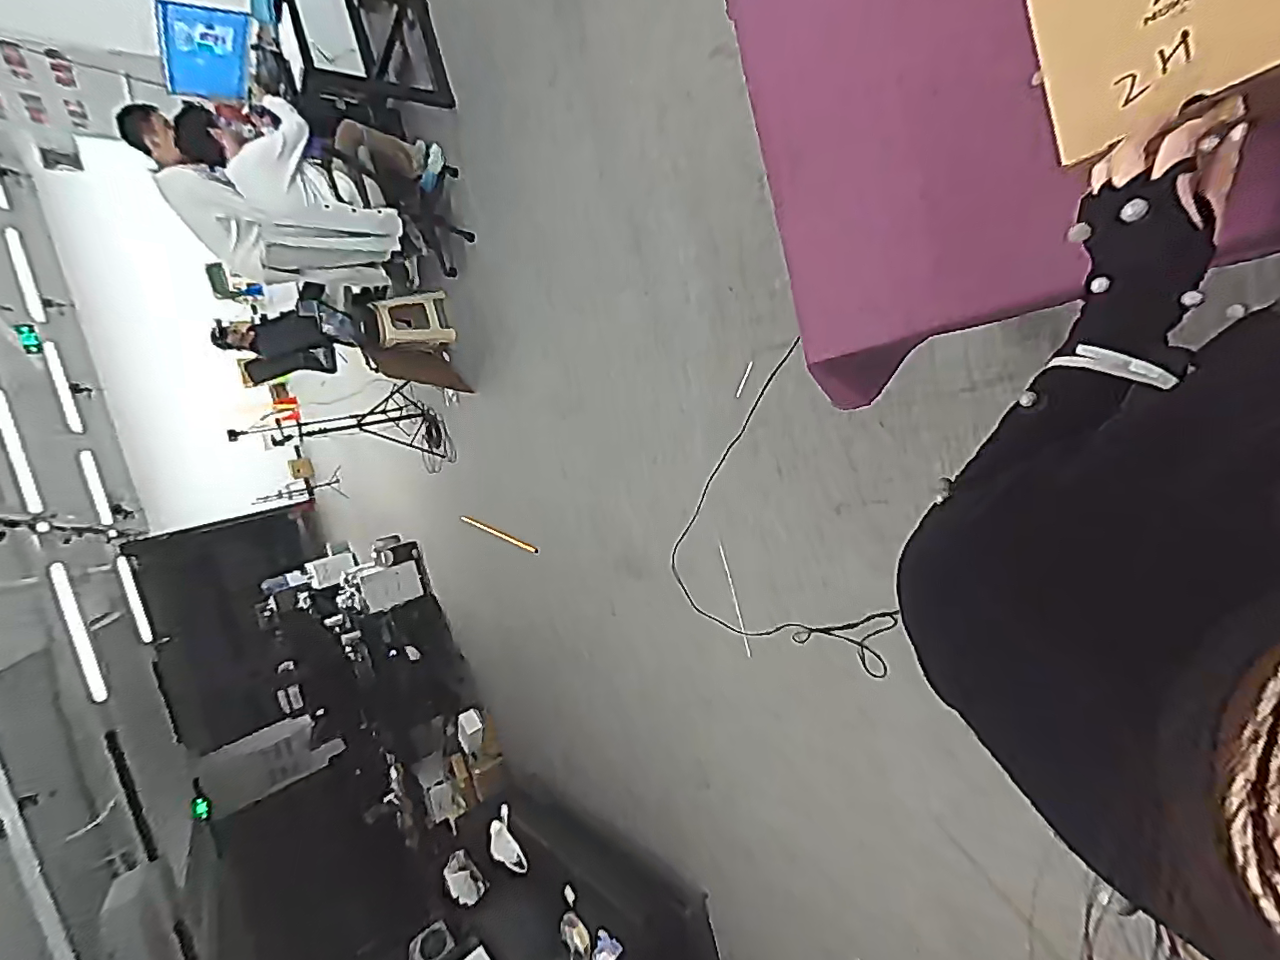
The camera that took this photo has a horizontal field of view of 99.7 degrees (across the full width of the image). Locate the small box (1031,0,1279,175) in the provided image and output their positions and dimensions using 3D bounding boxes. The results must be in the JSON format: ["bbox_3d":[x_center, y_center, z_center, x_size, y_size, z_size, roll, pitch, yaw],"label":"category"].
[{"bbox_3d":[0.461,-0.390,0.455,0.168,0.176,0.179,-11,95,53],"label":"small box"}]
